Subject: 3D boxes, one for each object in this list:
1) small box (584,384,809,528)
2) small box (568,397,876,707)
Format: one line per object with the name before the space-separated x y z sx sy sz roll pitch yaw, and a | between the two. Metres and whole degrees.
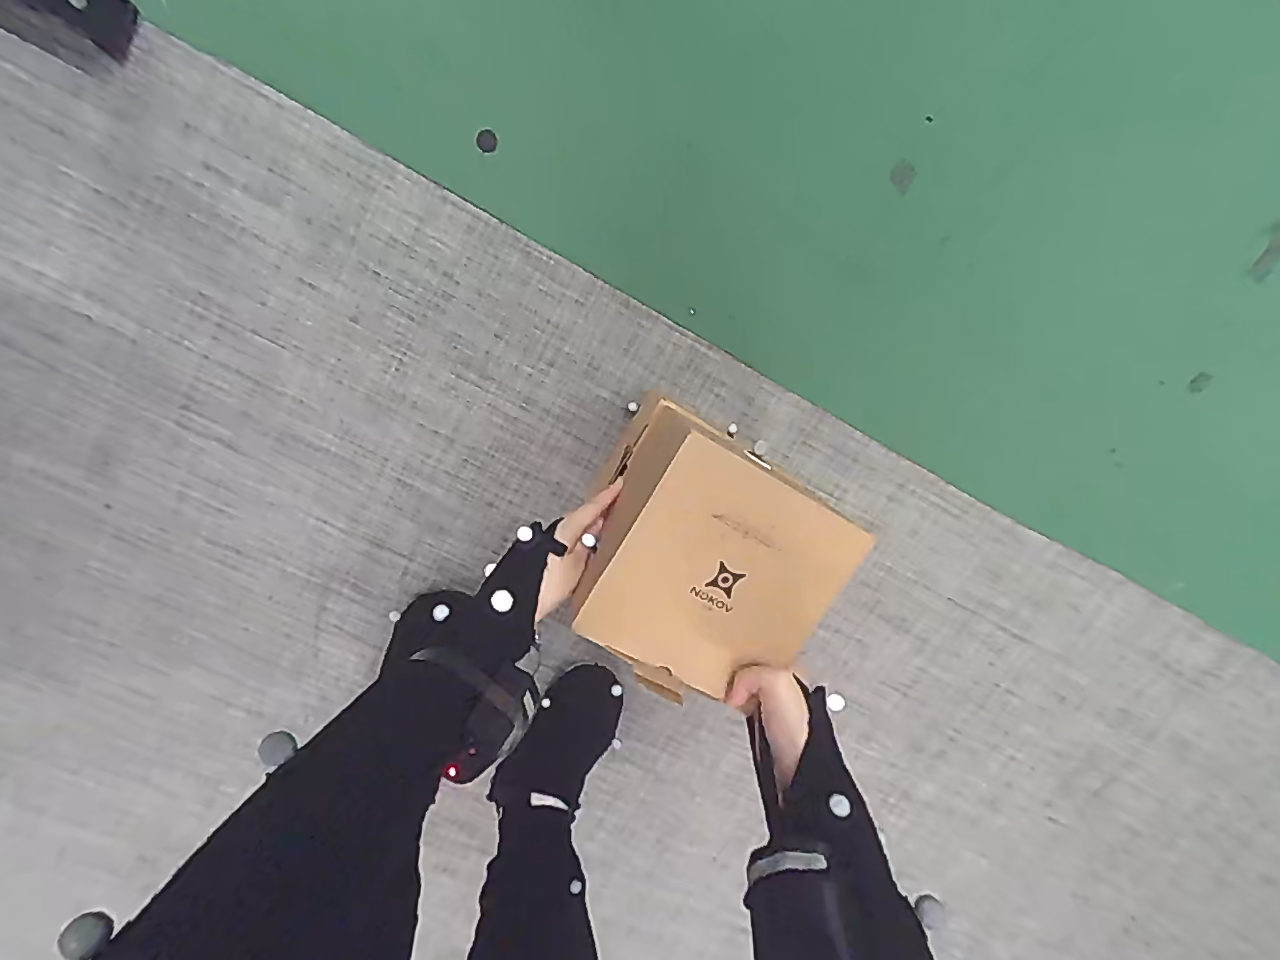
small box | 0.052 0.001 0.620 0.179 0.176 0.168 29 101 -11
small box | 0.055 0.047 0.466 0.168 0.176 0.179 28 101 -10
